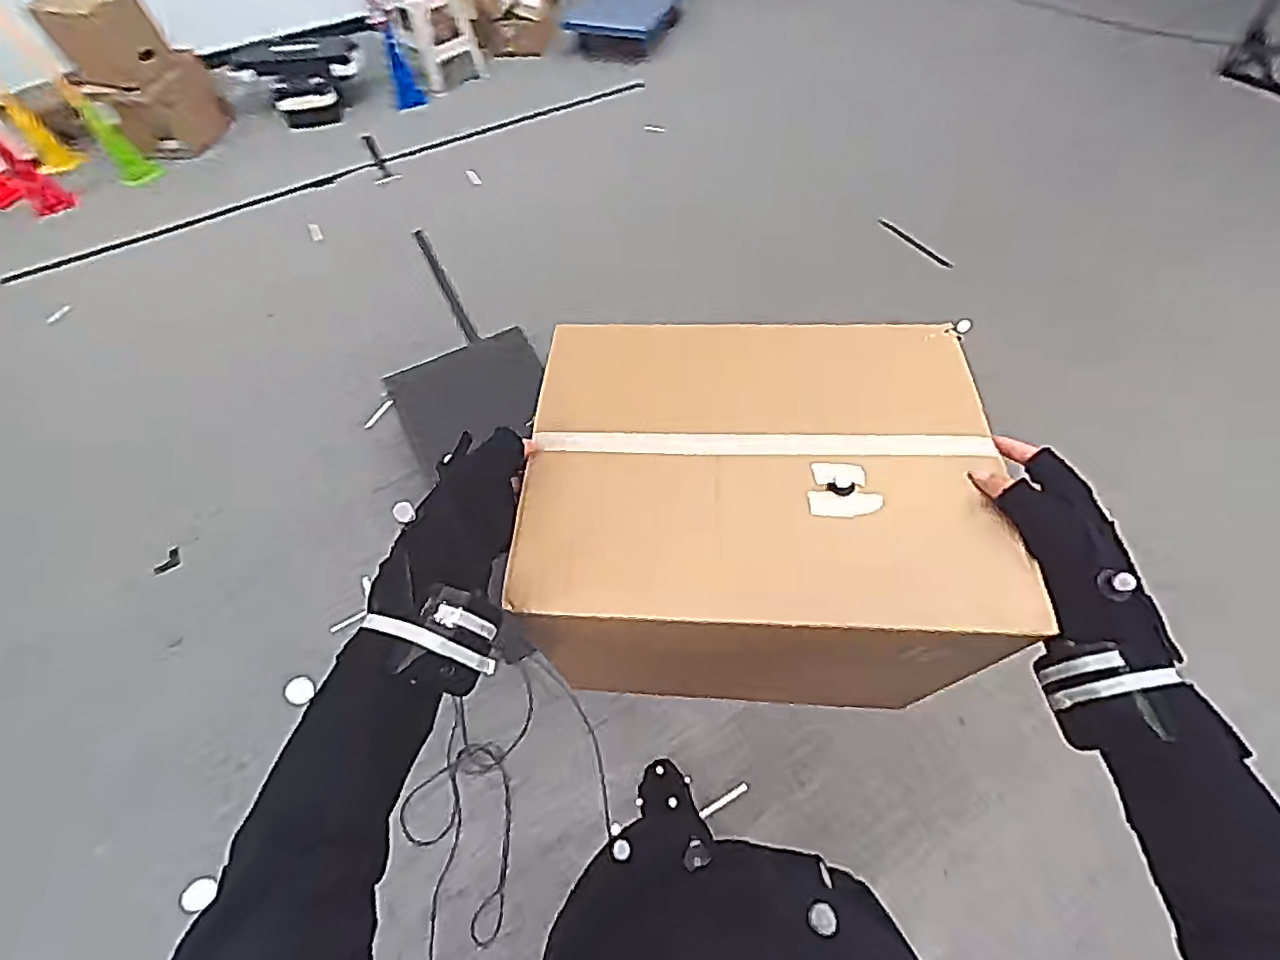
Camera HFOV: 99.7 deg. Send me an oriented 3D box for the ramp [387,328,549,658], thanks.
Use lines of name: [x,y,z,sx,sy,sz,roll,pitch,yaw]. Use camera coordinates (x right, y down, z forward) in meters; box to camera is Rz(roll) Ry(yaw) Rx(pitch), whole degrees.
ramp: [-0.375,-0.022,1.662,0.509,0.206,0.991,-27,60,-15]

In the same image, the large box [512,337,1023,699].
large box: [0.105,0.058,0.622,0.408,0.320,0.320,1,58,4]
